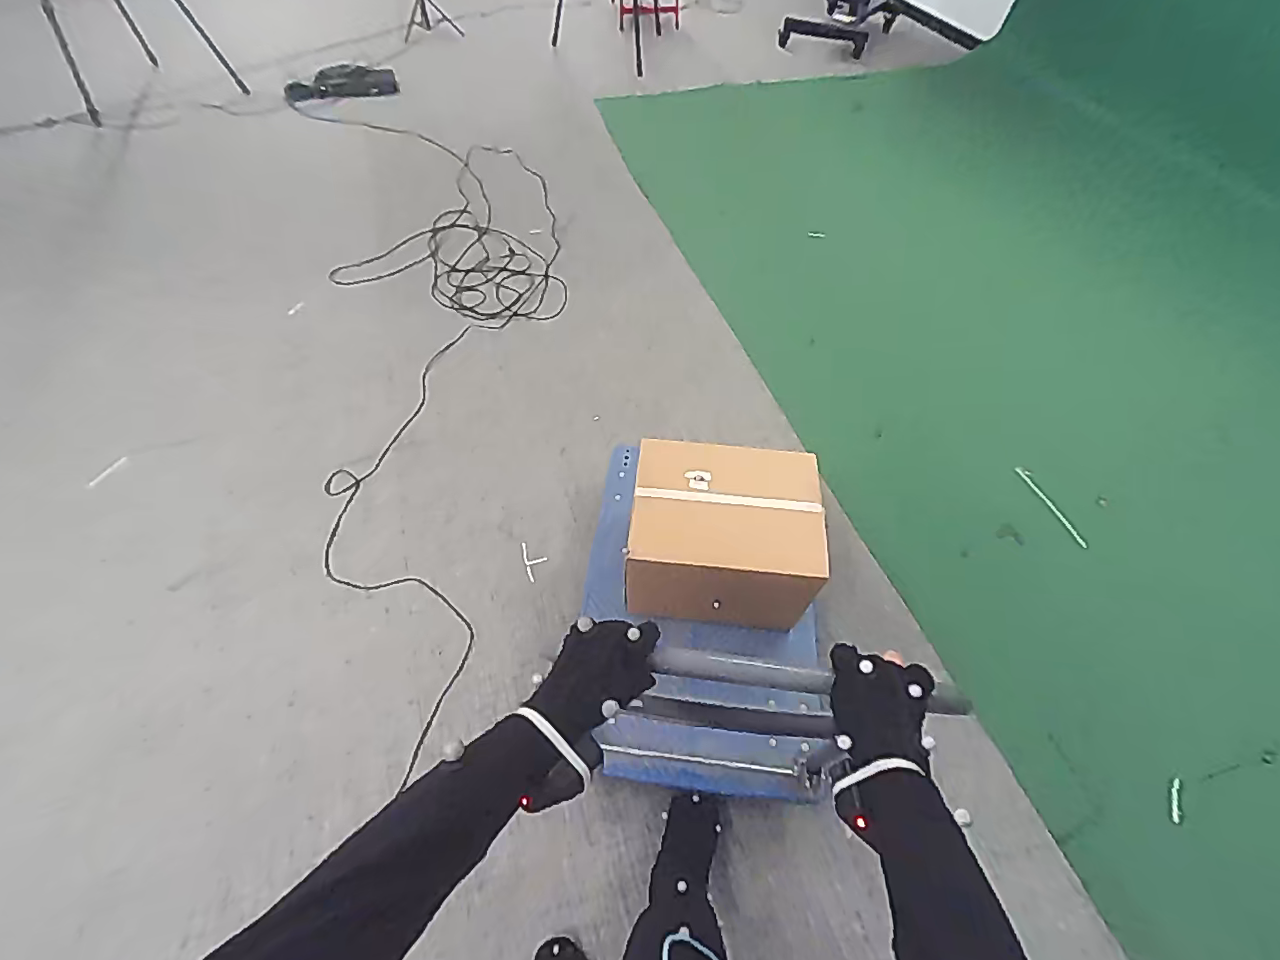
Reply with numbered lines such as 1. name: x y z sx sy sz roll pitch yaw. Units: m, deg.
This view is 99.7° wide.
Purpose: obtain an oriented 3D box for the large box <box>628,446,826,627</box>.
1. large box: 0.186 0.142 1.287 0.408 0.320 0.320 5 55 2
